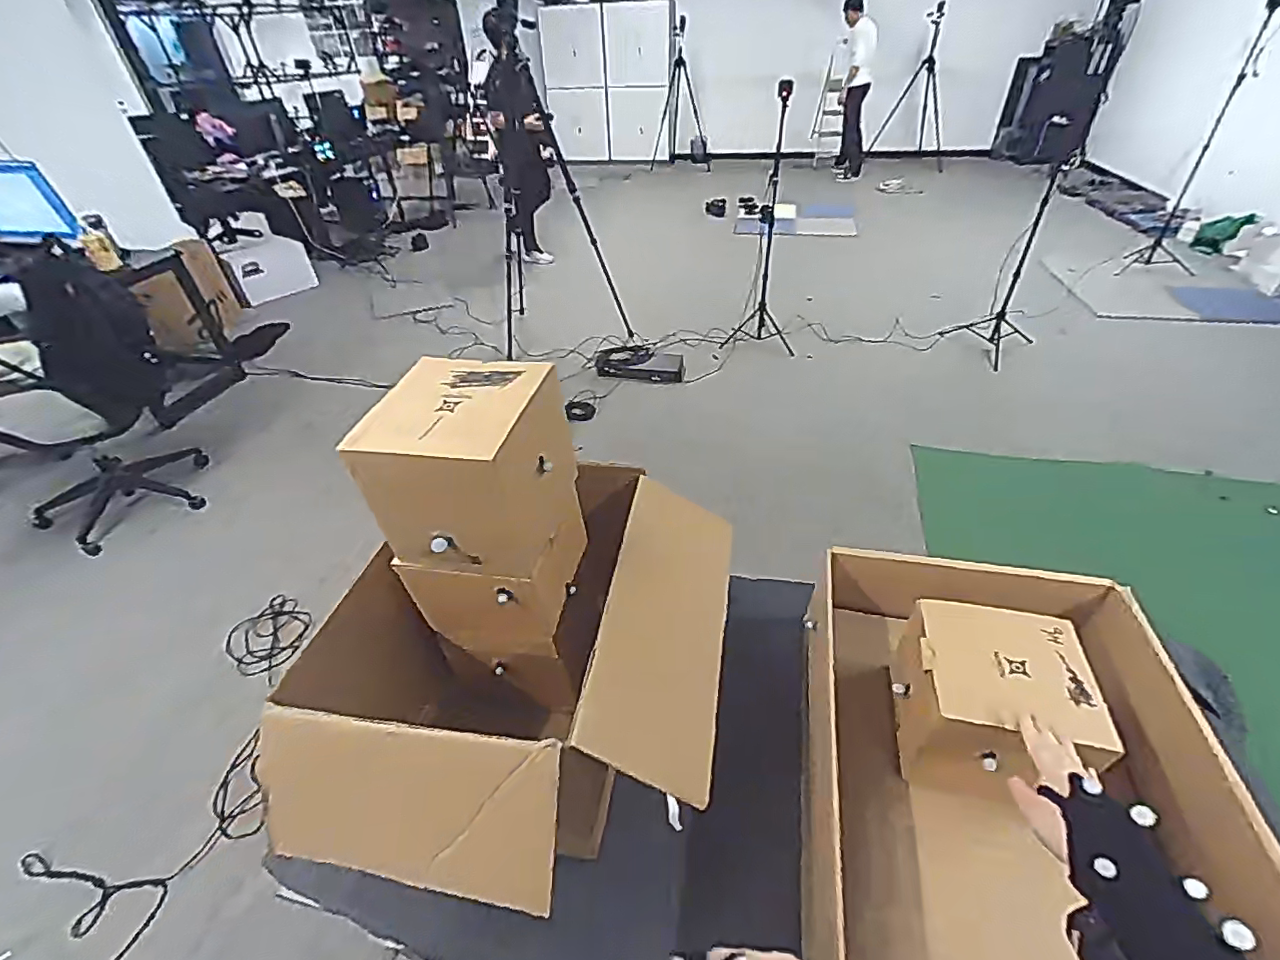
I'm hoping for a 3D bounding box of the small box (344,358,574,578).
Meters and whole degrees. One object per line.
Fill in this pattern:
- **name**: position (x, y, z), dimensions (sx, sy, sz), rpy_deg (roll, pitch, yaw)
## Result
- **small box**: position (-0.181, -0.018, 0.609), dimensions (0.168, 0.176, 0.179), rpy_deg (5, 43, 12)
